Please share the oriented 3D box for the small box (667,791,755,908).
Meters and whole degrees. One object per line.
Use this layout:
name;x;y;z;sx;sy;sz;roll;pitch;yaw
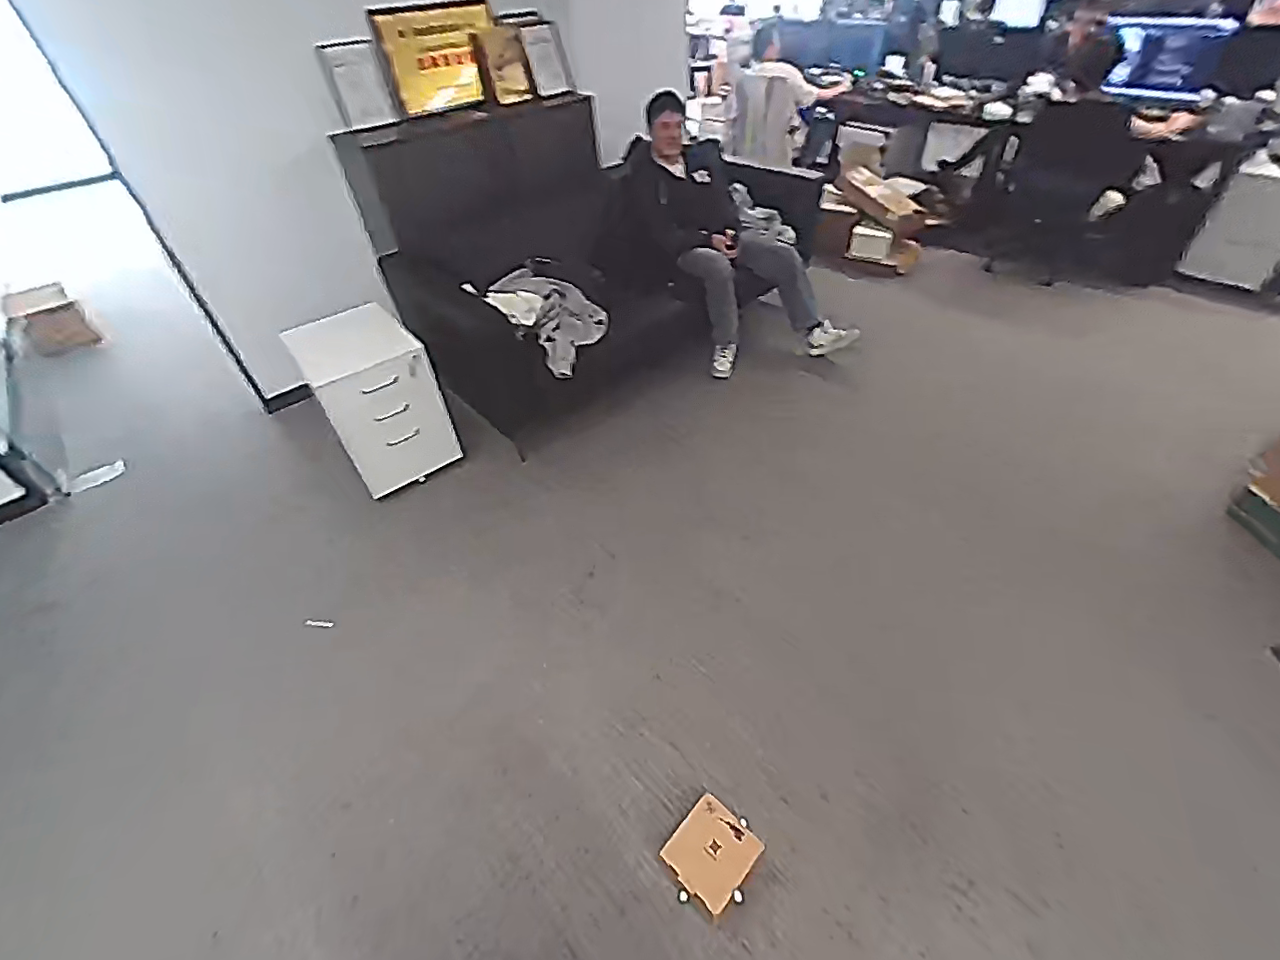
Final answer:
small box;0.168;0.863;1.261;0.179;0.176;0.168;7;42;14
